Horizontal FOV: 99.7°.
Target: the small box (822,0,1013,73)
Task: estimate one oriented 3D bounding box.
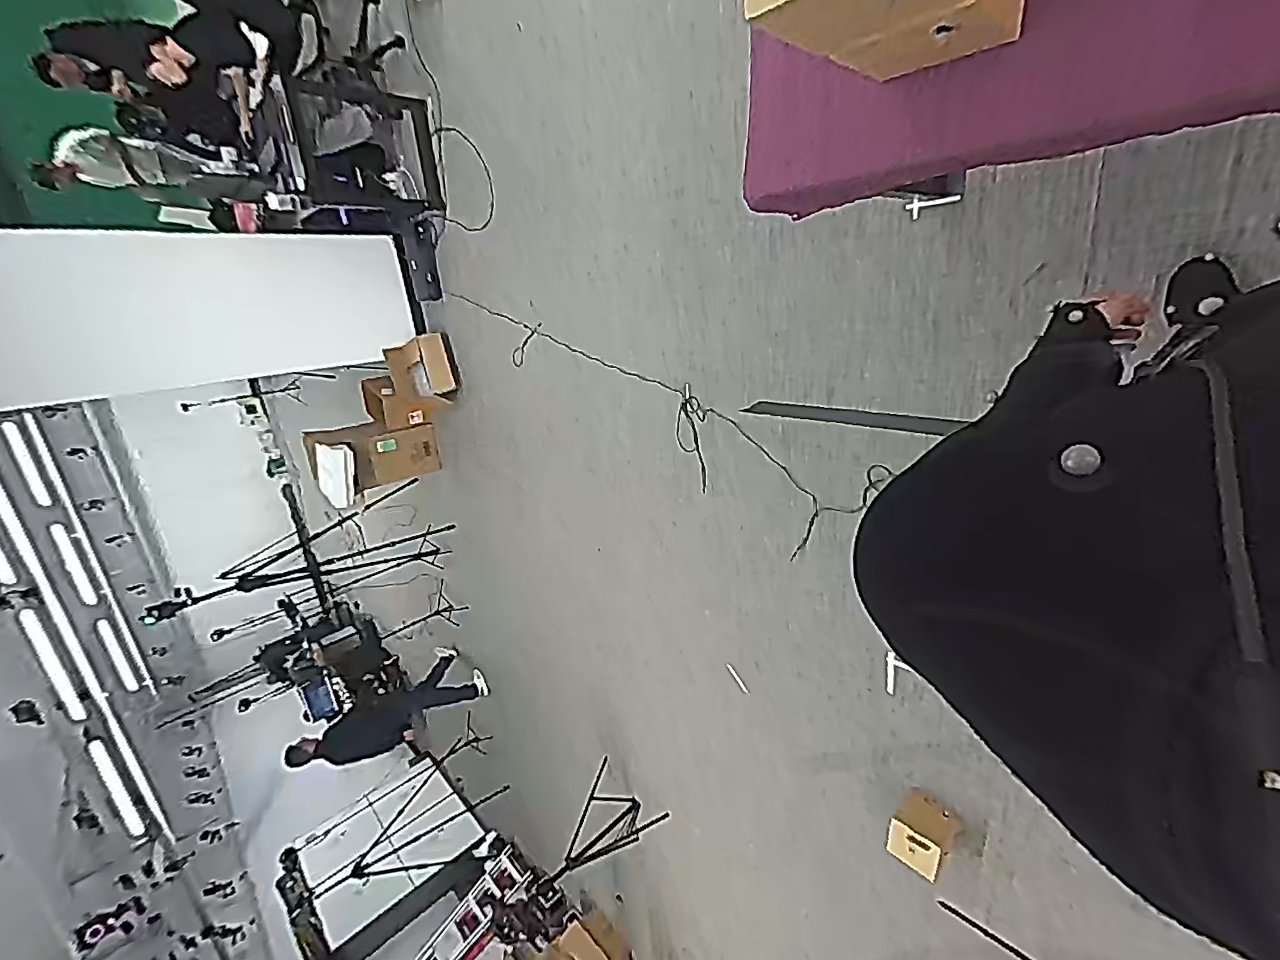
[{"bbox_3d":[0.344,-0.627,0.654,0.179,0.176,0.168,17,119,44],"label":"small box"}]

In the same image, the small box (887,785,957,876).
[{"bbox_3d":[1.007,1.242,1.929,0.168,0.176,0.179,19,122,44],"label":"small box"}]
